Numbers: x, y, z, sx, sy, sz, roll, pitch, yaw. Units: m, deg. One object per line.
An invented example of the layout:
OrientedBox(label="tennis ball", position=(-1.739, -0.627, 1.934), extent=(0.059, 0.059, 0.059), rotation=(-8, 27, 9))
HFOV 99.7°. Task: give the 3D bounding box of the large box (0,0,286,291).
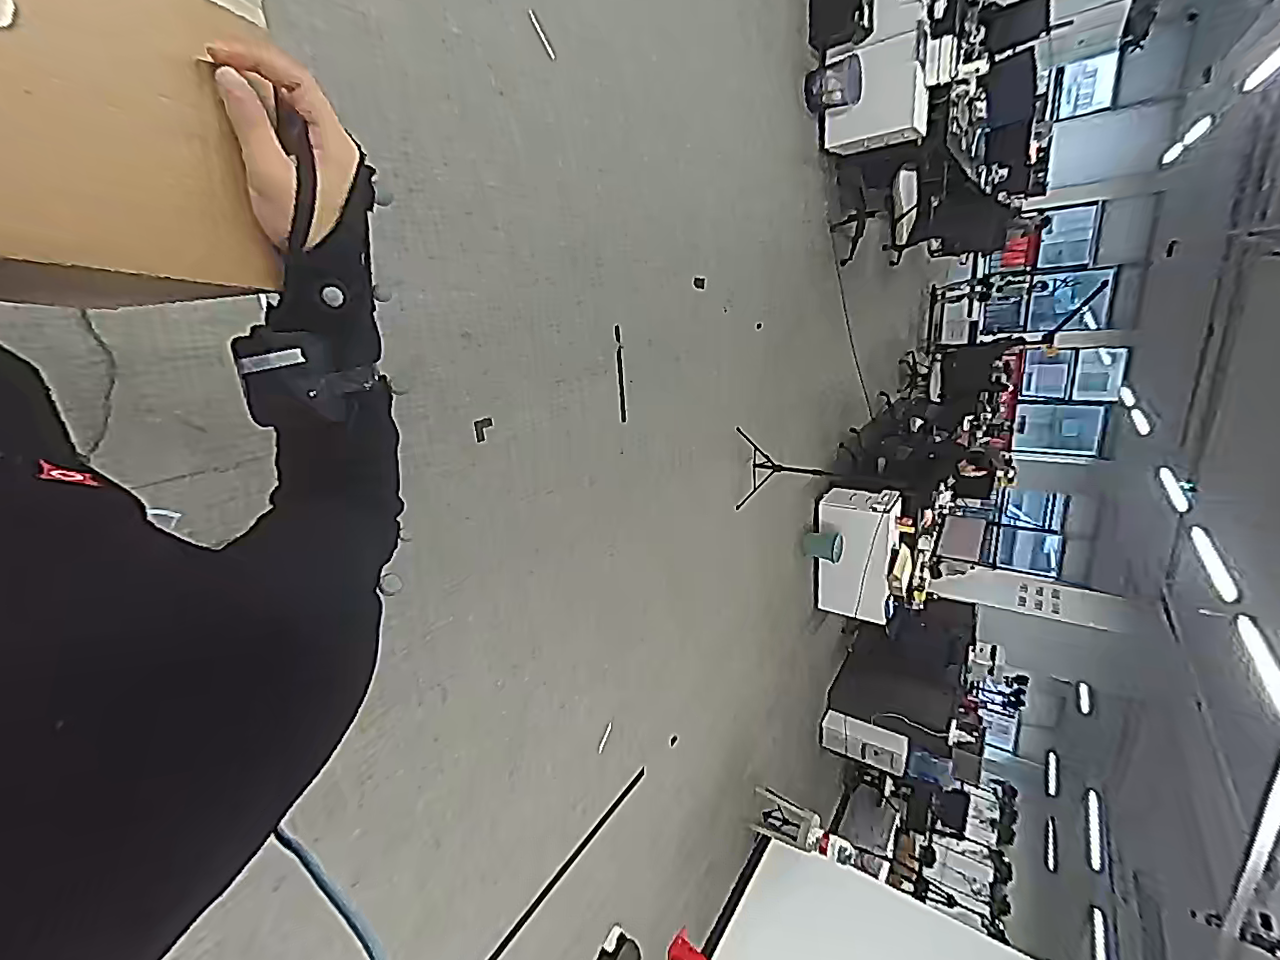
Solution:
OrientedBox(label="large box", position=(-0.458, -0.268, 0.228), extent=(0.408, 0.320, 0.320), rotation=(-19, 114, -58))
